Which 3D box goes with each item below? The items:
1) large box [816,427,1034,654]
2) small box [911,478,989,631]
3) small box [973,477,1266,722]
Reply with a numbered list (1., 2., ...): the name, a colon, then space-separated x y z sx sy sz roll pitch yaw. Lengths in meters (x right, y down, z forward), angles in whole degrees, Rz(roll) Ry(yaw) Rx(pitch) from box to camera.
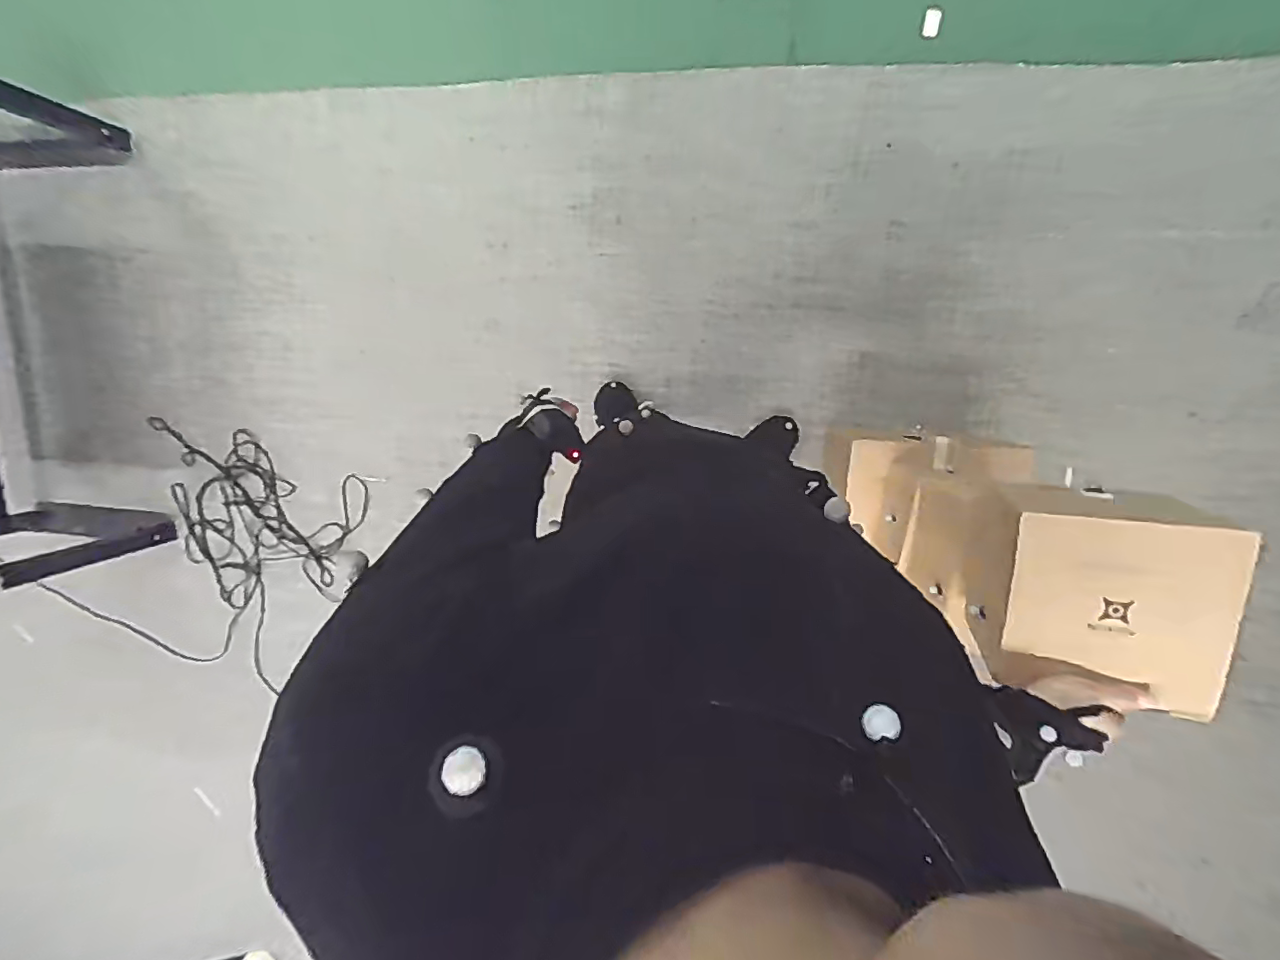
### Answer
1. large box: 0.567 0.101 1.156 0.320 0.320 0.408 4 102 11
2. small box: 0.495 0.098 0.748 0.168 0.176 0.179 5 101 9
3. small box: 0.448 0.101 0.543 0.168 0.176 0.179 4 101 22
